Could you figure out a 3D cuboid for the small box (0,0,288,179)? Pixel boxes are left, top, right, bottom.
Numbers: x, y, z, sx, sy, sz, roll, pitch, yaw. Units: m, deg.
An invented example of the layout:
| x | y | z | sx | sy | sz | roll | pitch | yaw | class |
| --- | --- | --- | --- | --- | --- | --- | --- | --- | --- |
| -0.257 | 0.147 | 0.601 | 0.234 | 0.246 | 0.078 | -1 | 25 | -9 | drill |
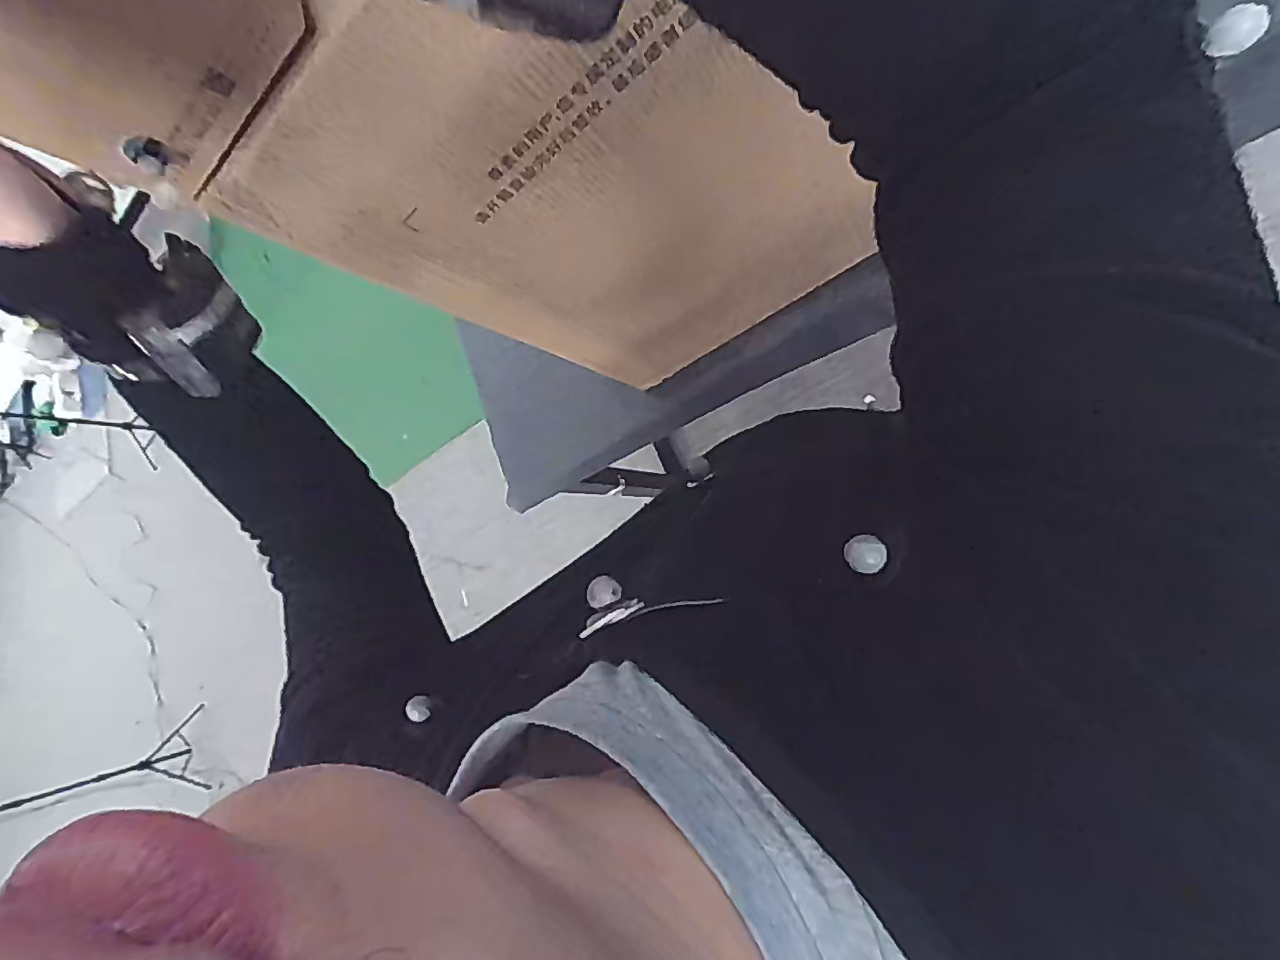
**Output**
| x | y | z | sx | sy | sz | roll | pitch | yaw | class |
| --- | --- | --- | --- | --- | --- | --- | --- | --- | --- |
| -0.319 | -0.303 | 0.293 | 0.168 | 0.176 | 0.179 | -26 | 73 | 28 | small box |
